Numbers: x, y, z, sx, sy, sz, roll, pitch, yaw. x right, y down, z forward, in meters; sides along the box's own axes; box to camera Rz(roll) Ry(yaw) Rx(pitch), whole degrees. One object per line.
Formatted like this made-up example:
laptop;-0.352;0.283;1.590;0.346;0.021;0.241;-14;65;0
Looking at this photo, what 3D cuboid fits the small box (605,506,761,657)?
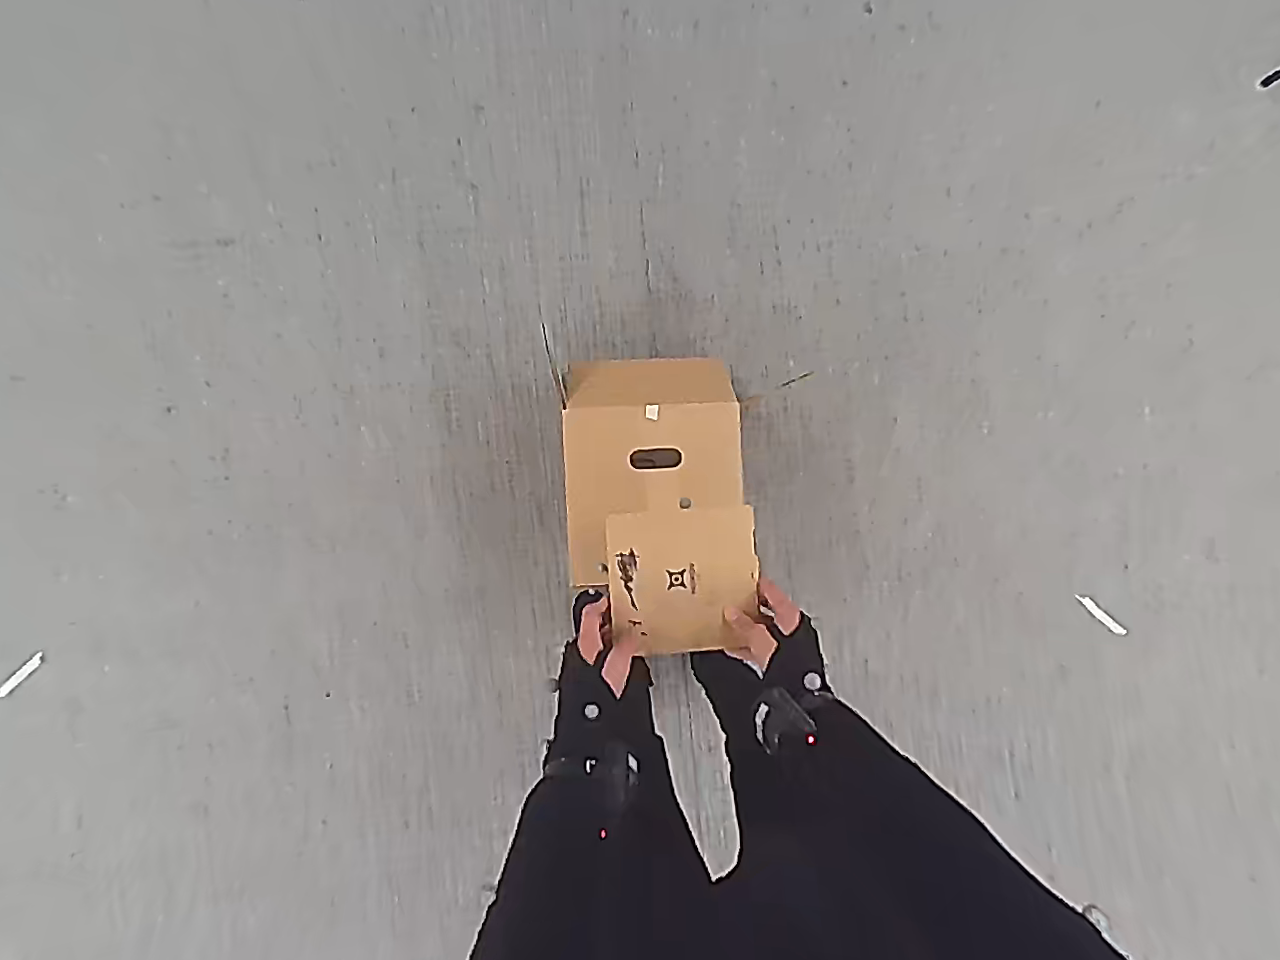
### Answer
small box;0.045;0.120;0.702;0.179;0.176;0.168;-3;87;-3
